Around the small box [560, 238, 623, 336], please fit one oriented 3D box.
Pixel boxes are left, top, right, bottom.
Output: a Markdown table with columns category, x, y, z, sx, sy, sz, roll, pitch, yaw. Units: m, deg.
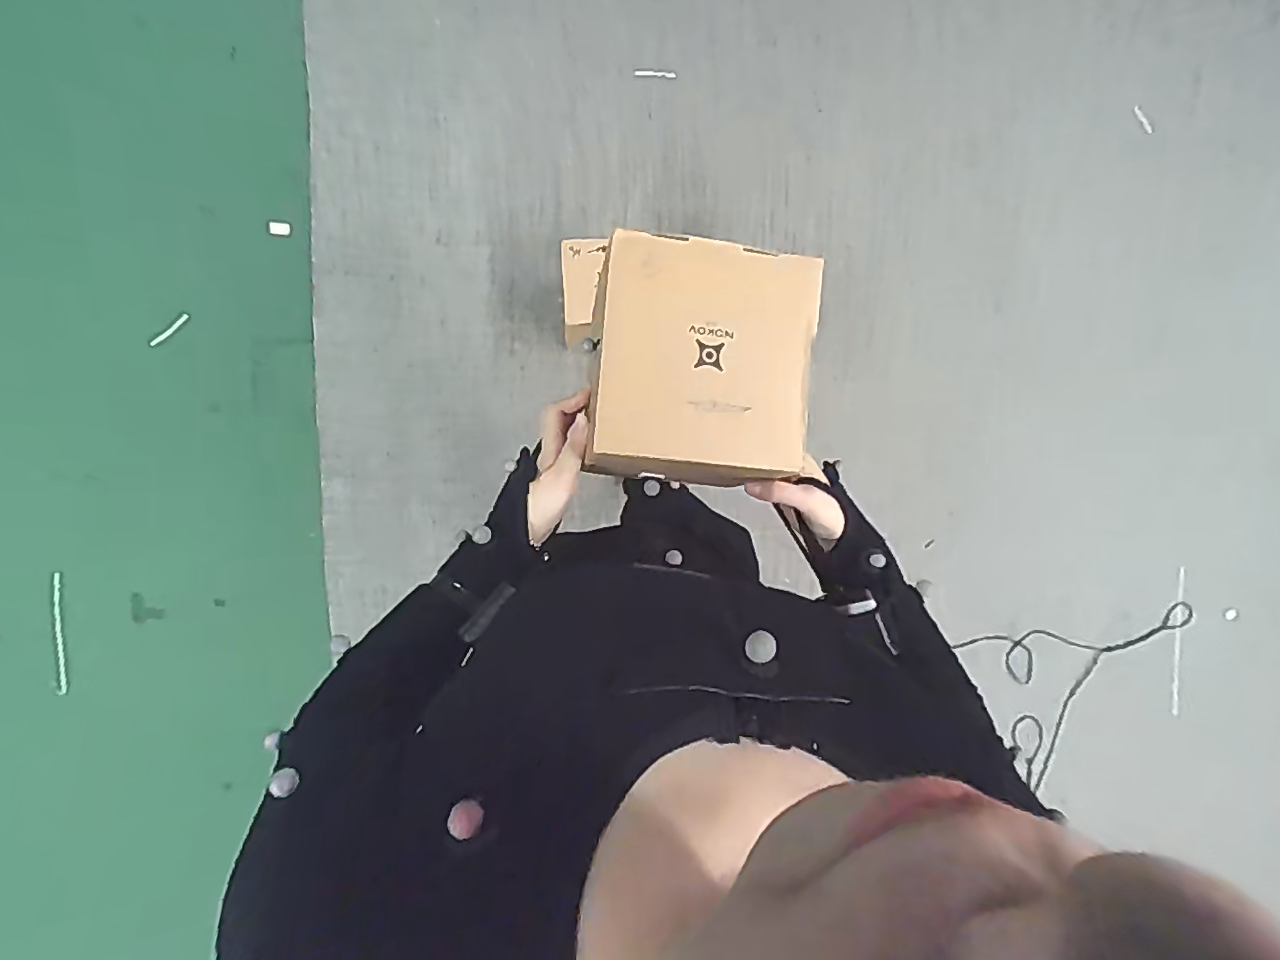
| category | x | y | z | sx | sy | sz | roll | pitch | yaw |
| --- | --- | --- | --- | --- | --- | --- | --- | --- | --- |
| small box | -0.087 | -0.418 | 1.197 | 0.168 | 0.176 | 0.179 | -3 | 95 | -5 |

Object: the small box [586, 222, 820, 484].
| category | x | y | z | sx | sy | sz | roll | pitch | yaw |
| --- | --- | --- | --- | --- | --- | --- | --- | --- | --- |
| small box | 0.044 | -0.095 | 0.492 | 0.168 | 0.176 | 0.179 | 5 | 85 | -10 |
